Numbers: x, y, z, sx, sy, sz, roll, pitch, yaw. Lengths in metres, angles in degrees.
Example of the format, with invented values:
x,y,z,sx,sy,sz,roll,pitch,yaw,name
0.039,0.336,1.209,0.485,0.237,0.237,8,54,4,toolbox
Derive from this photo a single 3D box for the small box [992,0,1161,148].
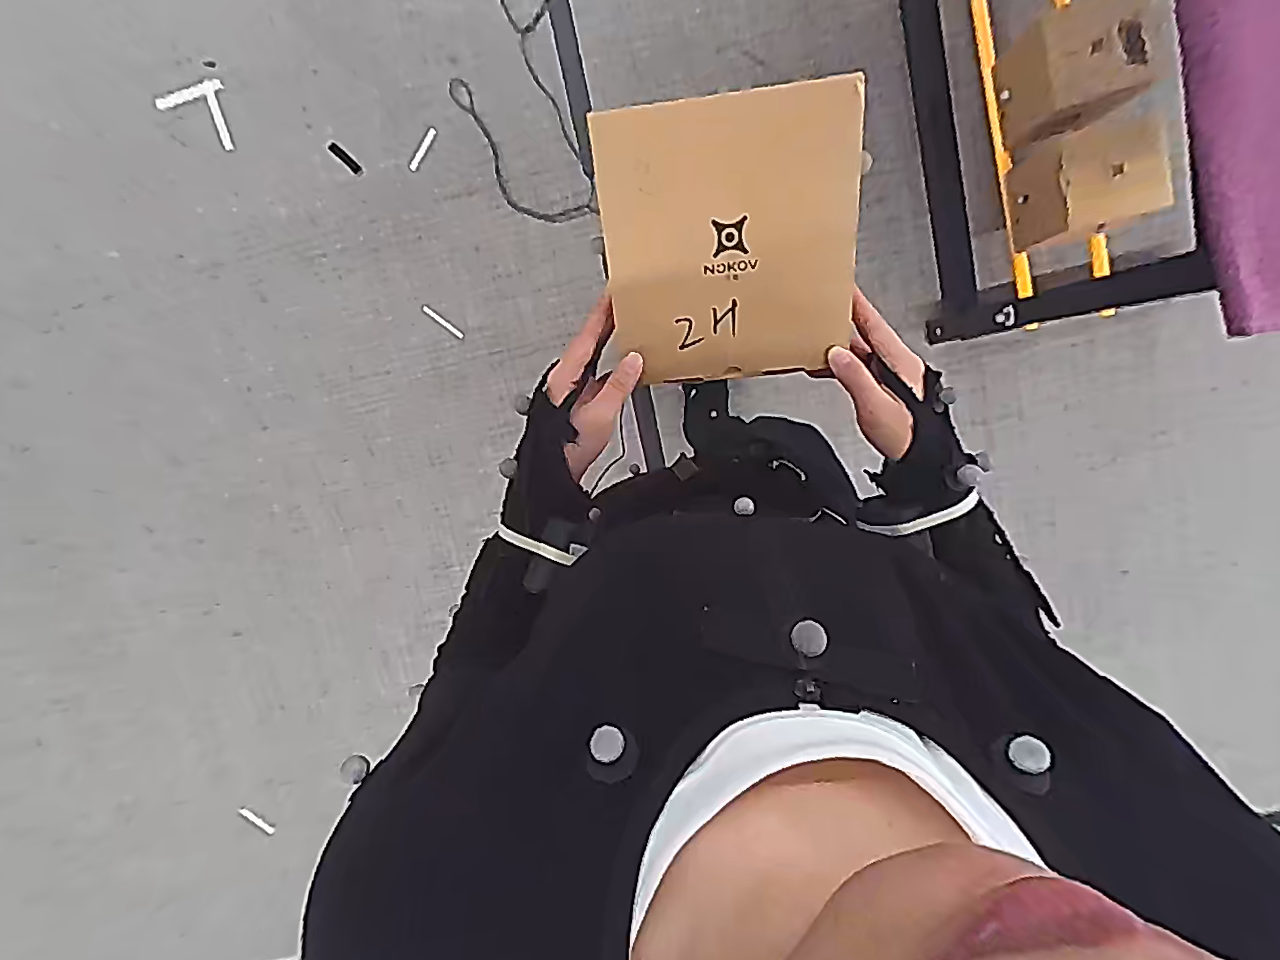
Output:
x,y,z,sx,sy,sz,roll,pitch,yaw,name
0.801,-0.759,1.007,0.179,0.176,0.168,-13,97,8,small box

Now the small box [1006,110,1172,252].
x,y,z,sx,sy,sz,roll,pitch,yaw,name
0.847,-0.559,1.034,0.179,0.176,0.168,-13,97,7,small box

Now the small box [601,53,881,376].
x,y,z,sx,sy,sz,roll,pitch,yaw,name
0.068,-0.193,0.418,0.168,0.176,0.179,-4,117,6,small box
